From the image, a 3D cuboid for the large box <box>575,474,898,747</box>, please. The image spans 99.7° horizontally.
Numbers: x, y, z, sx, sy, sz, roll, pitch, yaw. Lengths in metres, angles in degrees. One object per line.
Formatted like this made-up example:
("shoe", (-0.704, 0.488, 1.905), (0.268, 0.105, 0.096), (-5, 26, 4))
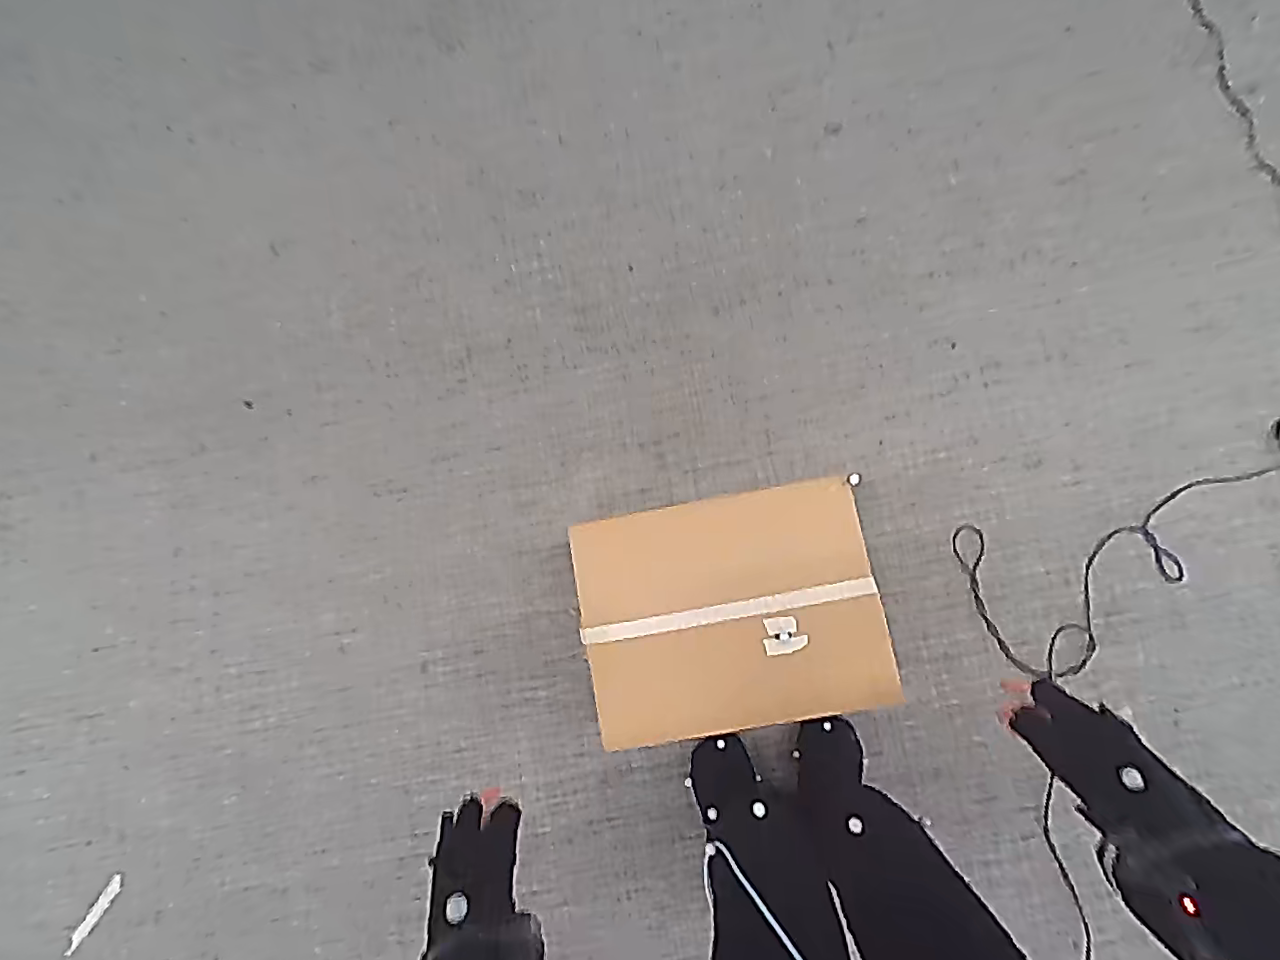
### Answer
("large box", (0.135, 0.204, 0.902), (0.408, 0.320, 0.320), (-11, 81, 2))
